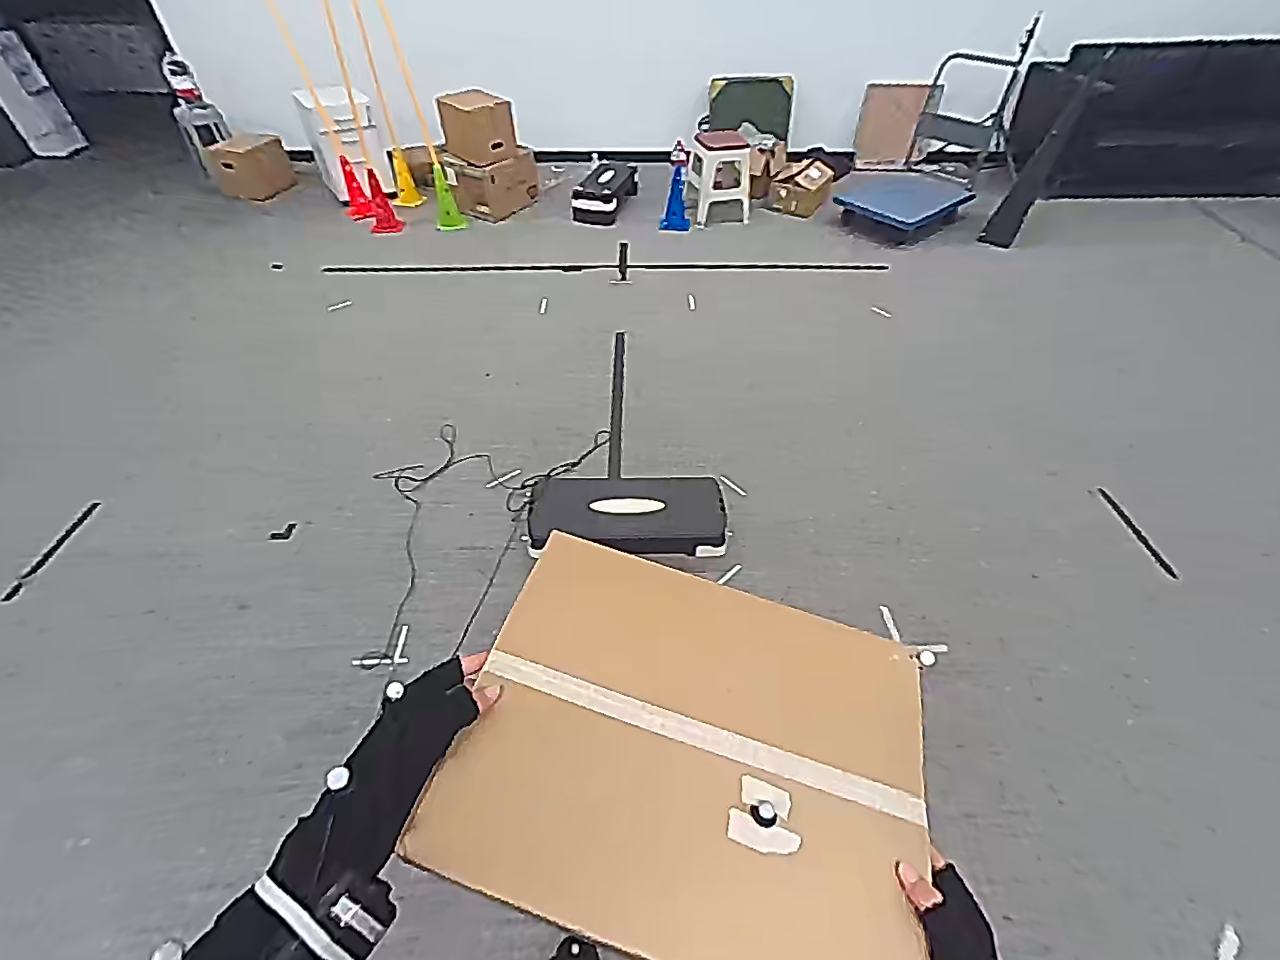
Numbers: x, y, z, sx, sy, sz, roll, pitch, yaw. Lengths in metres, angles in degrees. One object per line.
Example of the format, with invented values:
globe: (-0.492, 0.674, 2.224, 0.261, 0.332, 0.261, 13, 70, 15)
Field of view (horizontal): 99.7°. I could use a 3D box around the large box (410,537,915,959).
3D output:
large box: (0.029, 0.320, 0.609, 0.408, 0.320, 0.320, 17, 50, 6)
